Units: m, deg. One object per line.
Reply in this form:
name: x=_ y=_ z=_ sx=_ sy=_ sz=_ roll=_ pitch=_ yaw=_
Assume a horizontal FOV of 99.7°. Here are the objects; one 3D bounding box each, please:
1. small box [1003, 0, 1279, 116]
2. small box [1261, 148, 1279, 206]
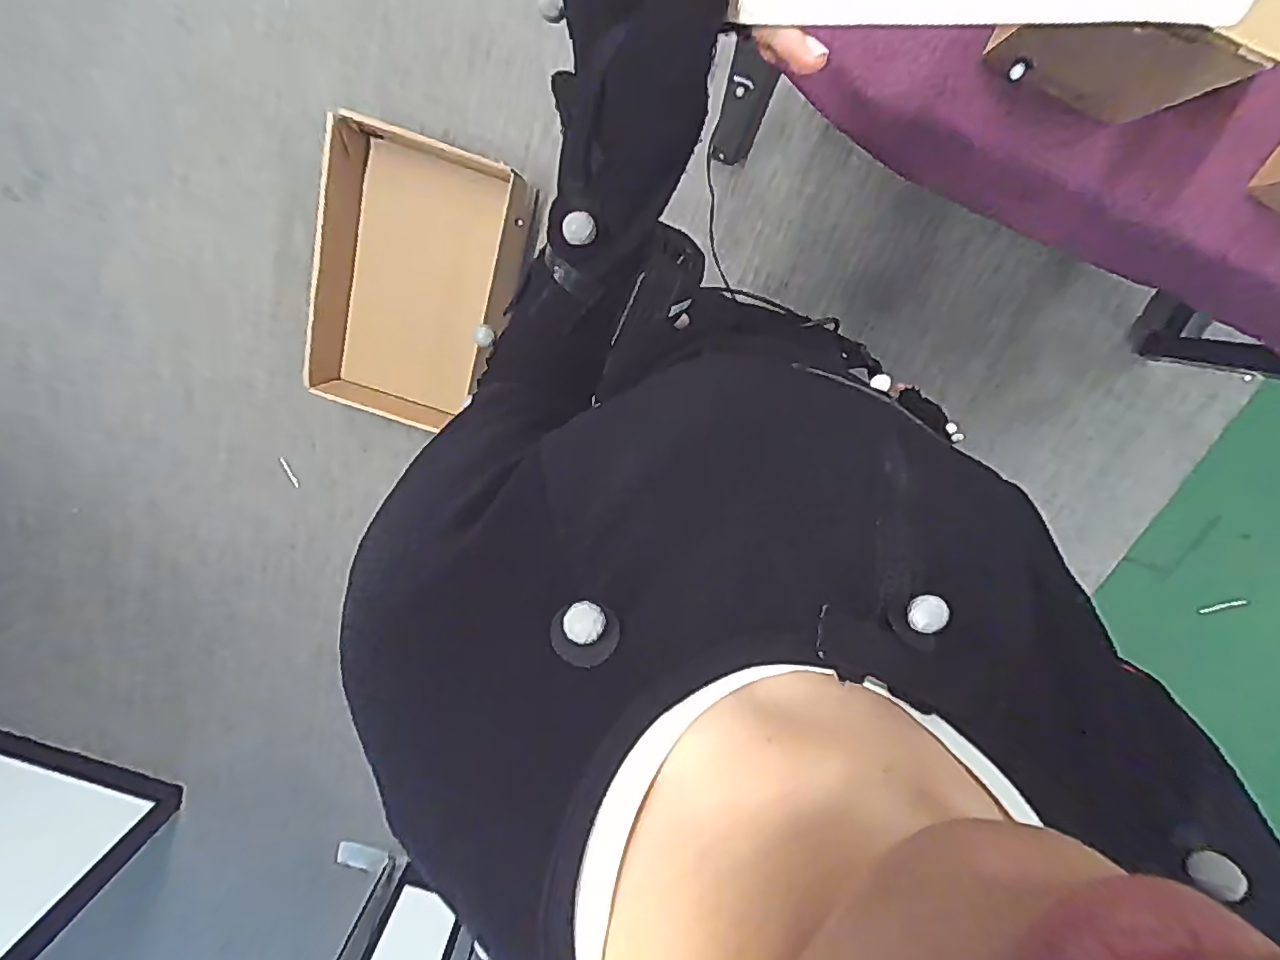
small box: x=0.455 y=-0.450 z=0.457 sx=0.168 sy=0.176 sz=0.179 roll=24 pitch=109 yaw=-4
small box: x=0.751 y=-0.322 z=0.479 sx=0.168 sy=0.176 sz=0.179 roll=27 pitch=109 yaw=-5
